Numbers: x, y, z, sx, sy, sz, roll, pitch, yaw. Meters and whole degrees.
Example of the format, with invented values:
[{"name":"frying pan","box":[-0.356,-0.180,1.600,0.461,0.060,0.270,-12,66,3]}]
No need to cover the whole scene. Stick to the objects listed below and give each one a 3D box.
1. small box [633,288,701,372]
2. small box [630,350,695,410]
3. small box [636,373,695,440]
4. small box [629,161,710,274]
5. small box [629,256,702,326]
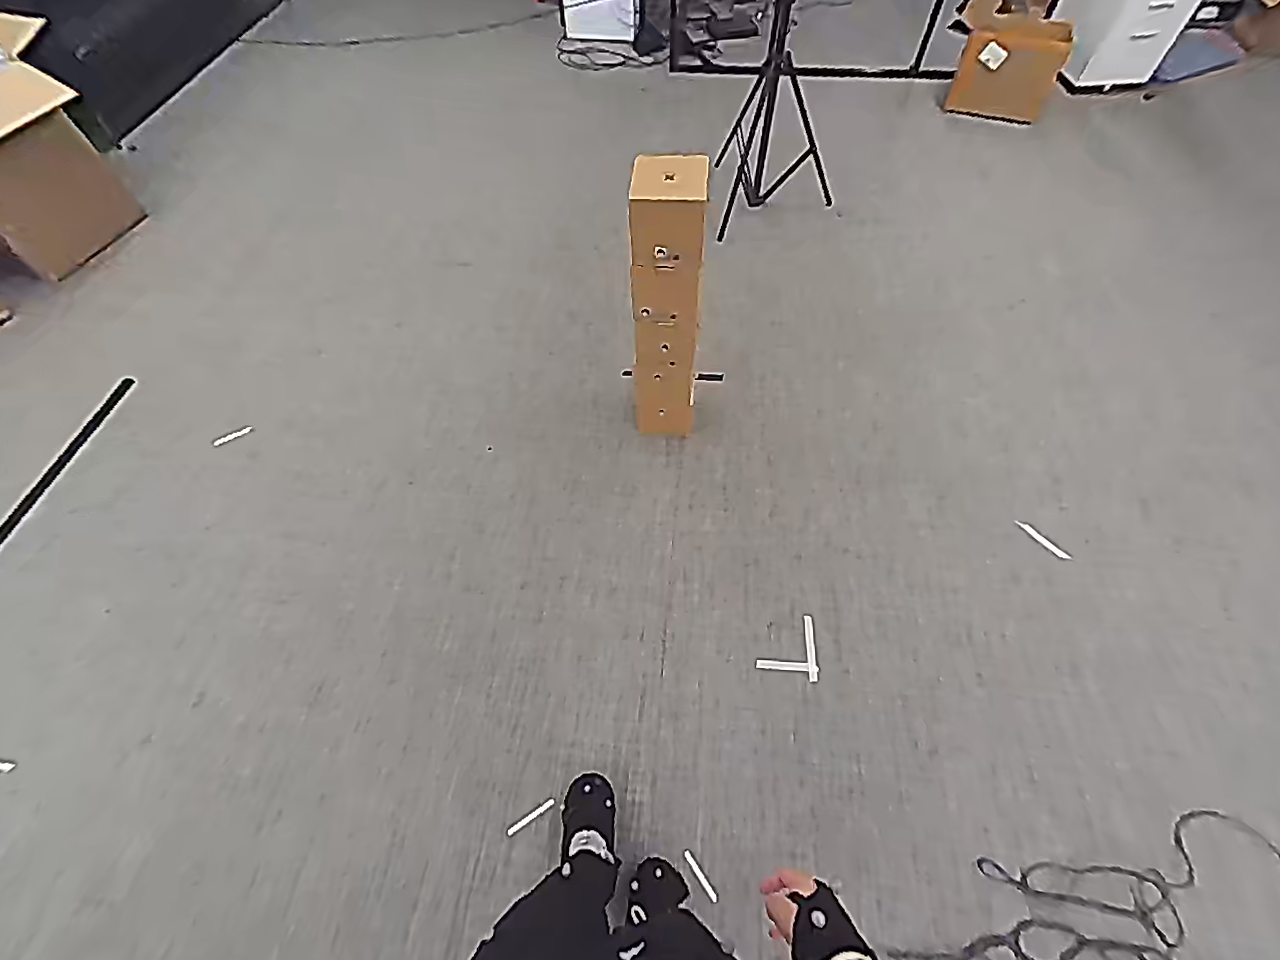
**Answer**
[{"name":"small box","box":[0.077,-0.421,1.508,0.168,0.176,0.179,6,59,6]},{"name":"small box","box":[0.073,-0.332,1.645,0.179,0.176,0.168,7,59,6]},{"name":"small box","box":[0.084,-0.246,1.785,0.179,0.176,0.168,4,58,5]},{"name":"small box","box":[0.068,-0.597,1.233,0.168,0.176,0.179,3,59,5]},{"name":"small box","box":[0.070,-0.511,1.370,0.168,0.176,0.179,5,57,5]}]
